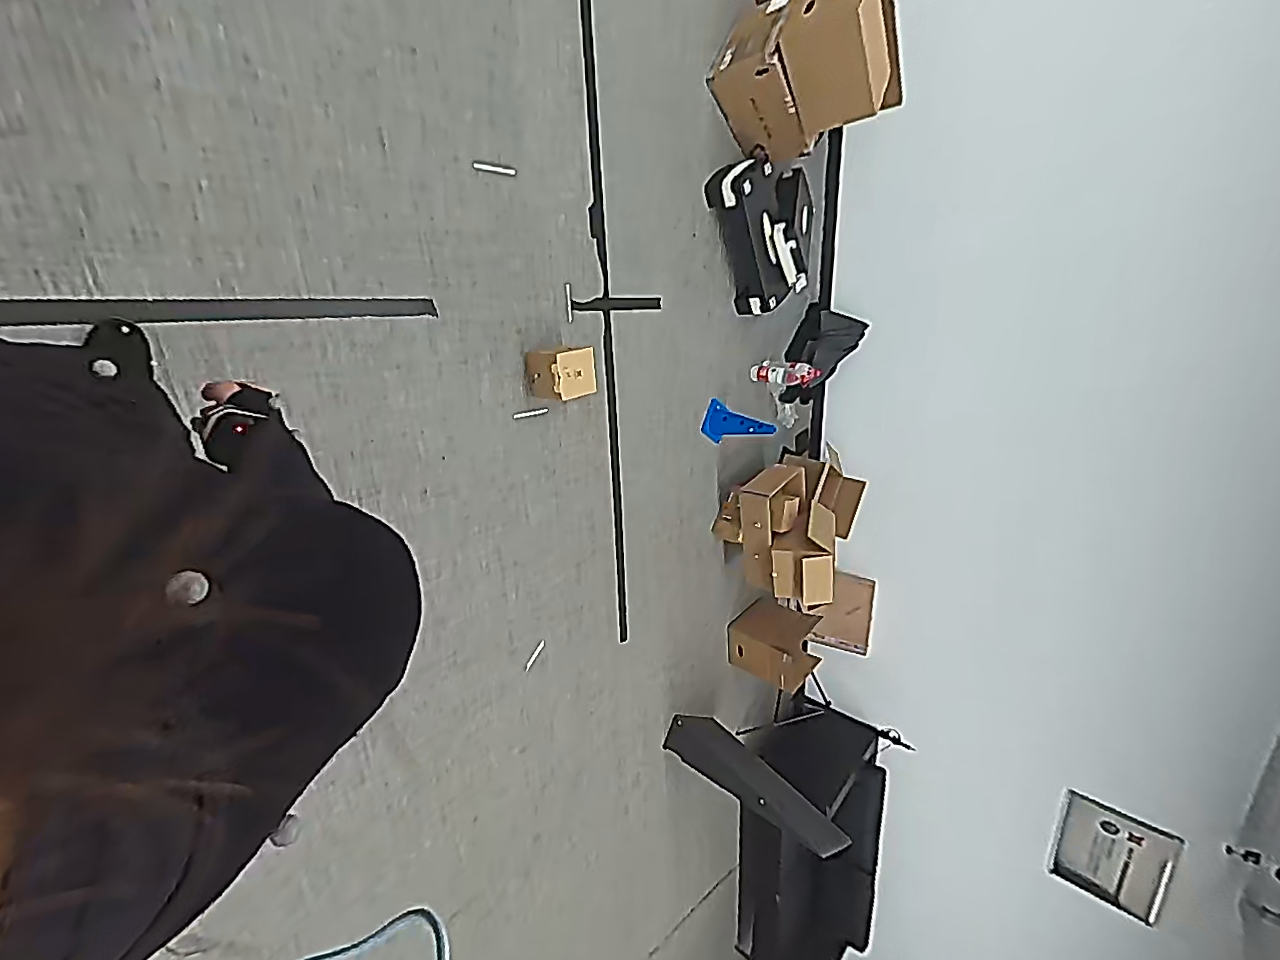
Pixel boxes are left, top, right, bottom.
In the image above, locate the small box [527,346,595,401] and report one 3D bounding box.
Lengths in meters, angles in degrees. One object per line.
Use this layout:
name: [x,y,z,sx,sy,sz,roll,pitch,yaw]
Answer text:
small box: [-0.288,-0.394,1.975,0.179,0.176,0.168,-24,118,-41]
